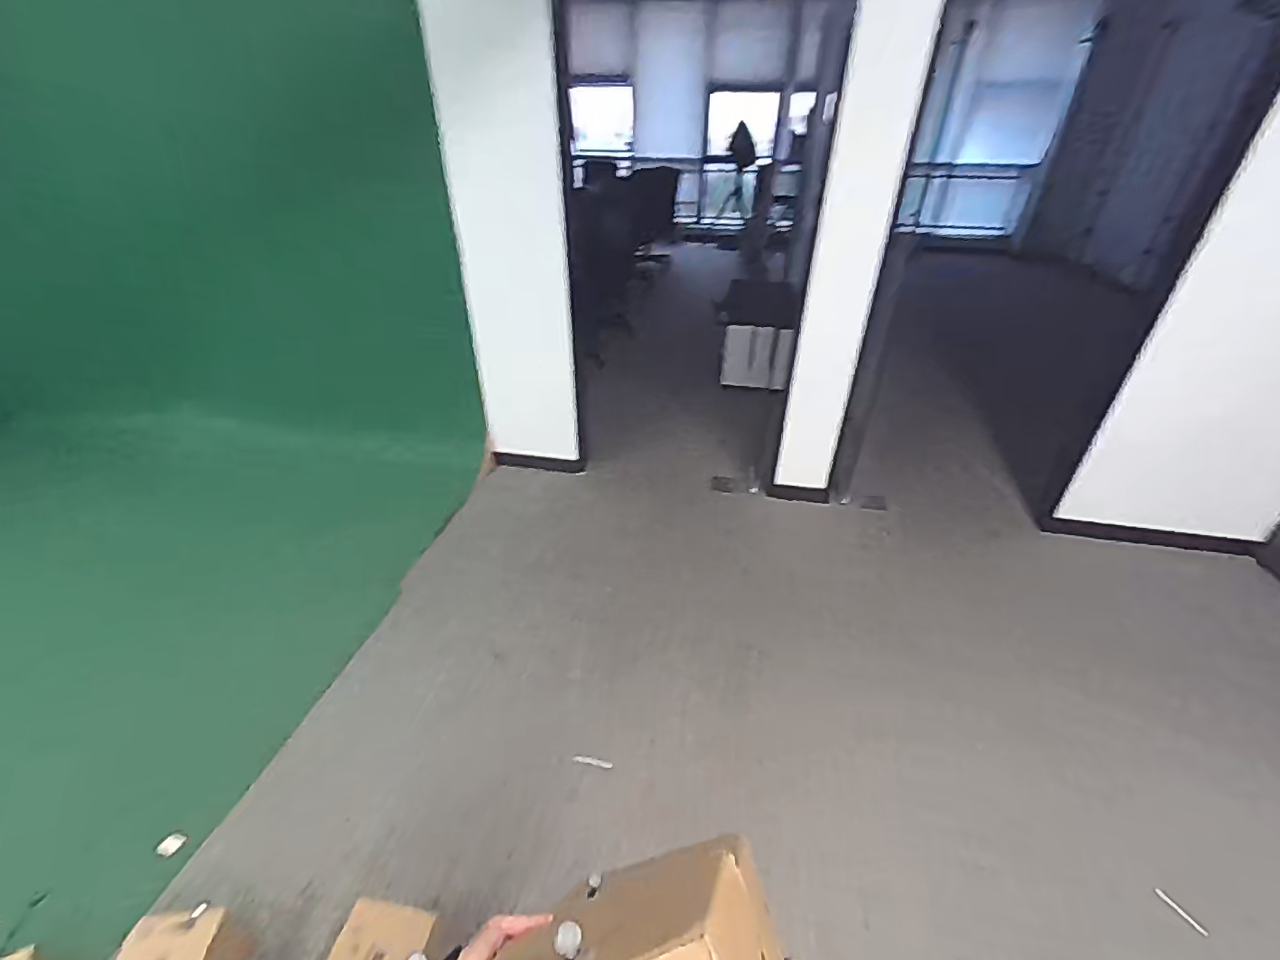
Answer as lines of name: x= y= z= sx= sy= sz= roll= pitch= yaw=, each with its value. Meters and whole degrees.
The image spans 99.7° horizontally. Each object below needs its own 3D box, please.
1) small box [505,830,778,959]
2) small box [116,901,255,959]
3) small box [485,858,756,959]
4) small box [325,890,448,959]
small box: x=0.019 y=0.404 z=0.425 sx=0.179 sy=0.176 sz=0.168 roll=-20 pitch=65 yaw=3
small box: x=-0.904 y=0.970 z=1.063 sx=0.168 sy=0.176 sz=0.179 roll=-3 pitch=34 yaw=-5
small box: x=-0.013 y=0.335 z=0.282 sx=0.179 sy=0.176 sz=0.168 roll=-24 pitch=64 yaw=0
small box: x=-0.506 y=0.965 z=1.079 sx=0.179 sy=0.176 sz=0.168 roll=7 pitch=33 yaw=8
